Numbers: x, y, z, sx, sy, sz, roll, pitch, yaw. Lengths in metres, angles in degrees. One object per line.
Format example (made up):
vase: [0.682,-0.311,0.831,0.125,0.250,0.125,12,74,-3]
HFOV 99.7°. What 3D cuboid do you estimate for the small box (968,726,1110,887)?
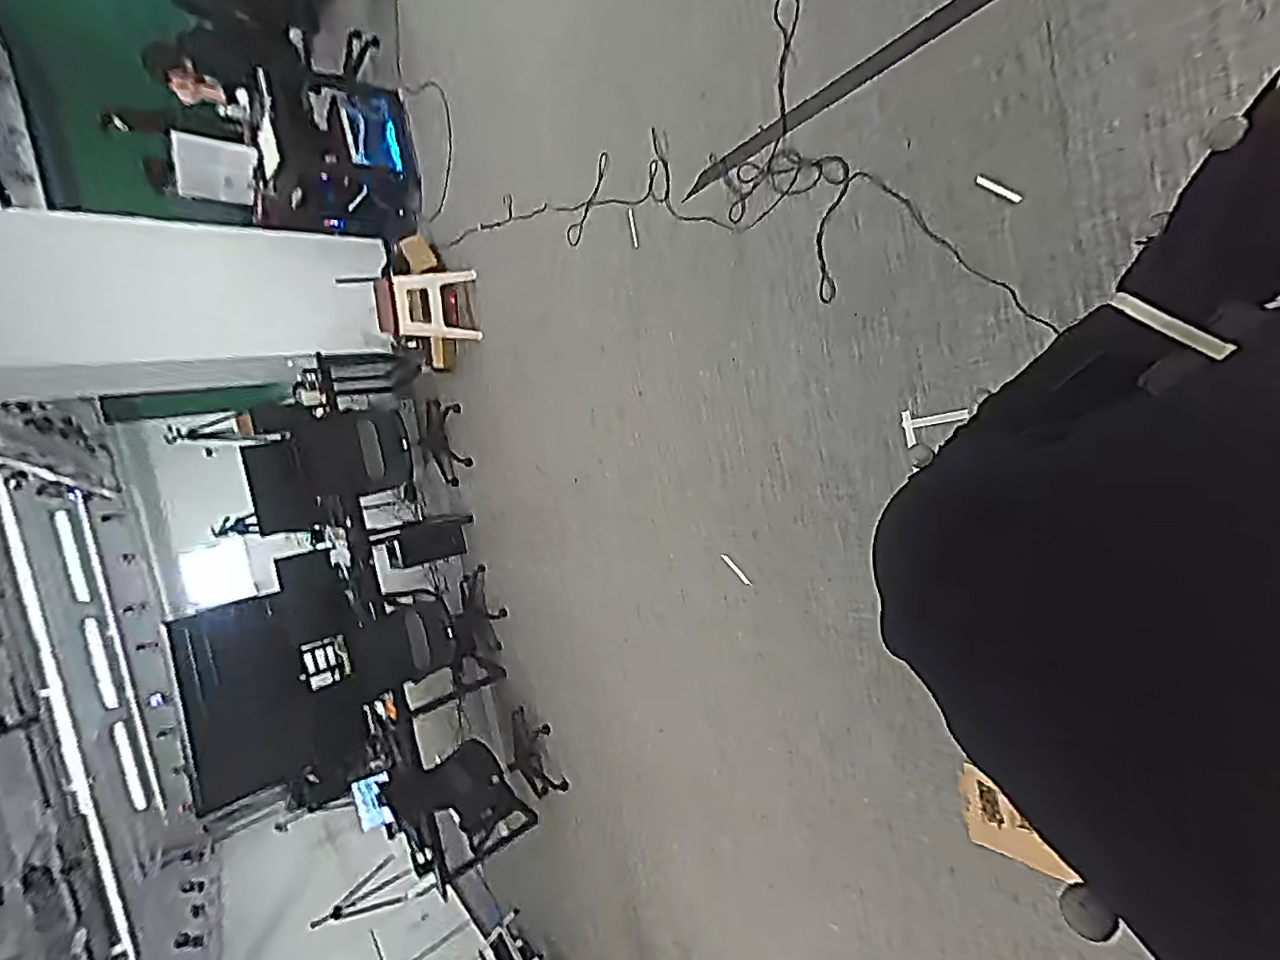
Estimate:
small box: [0.744,0.589,1.009,0.179,0.176,0.168,-1,101,50]
